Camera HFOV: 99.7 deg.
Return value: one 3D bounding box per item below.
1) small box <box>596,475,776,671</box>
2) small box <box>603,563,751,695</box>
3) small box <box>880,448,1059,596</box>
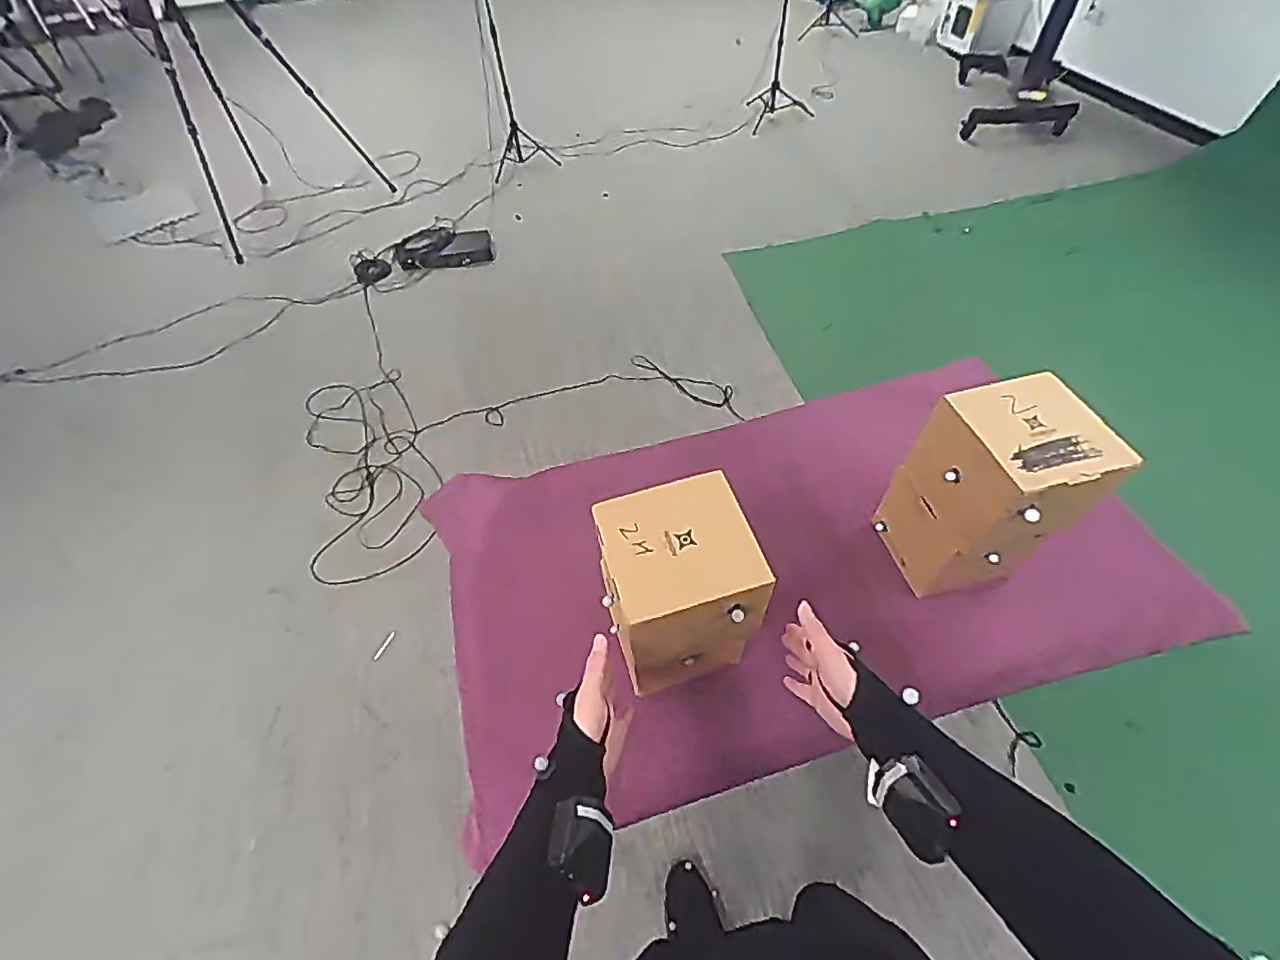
[{"bbox_3d":[0.051,0.123,0.698,0.179,0.176,0.168,-15,54,-7],"label":"small box"},{"bbox_3d":[0.052,0.210,0.839,0.179,0.176,0.168,-17,55,-8],"label":"small box"},{"bbox_3d":[0.528,0.075,0.905,0.179,0.176,0.168,-12,54,-6],"label":"small box"}]
